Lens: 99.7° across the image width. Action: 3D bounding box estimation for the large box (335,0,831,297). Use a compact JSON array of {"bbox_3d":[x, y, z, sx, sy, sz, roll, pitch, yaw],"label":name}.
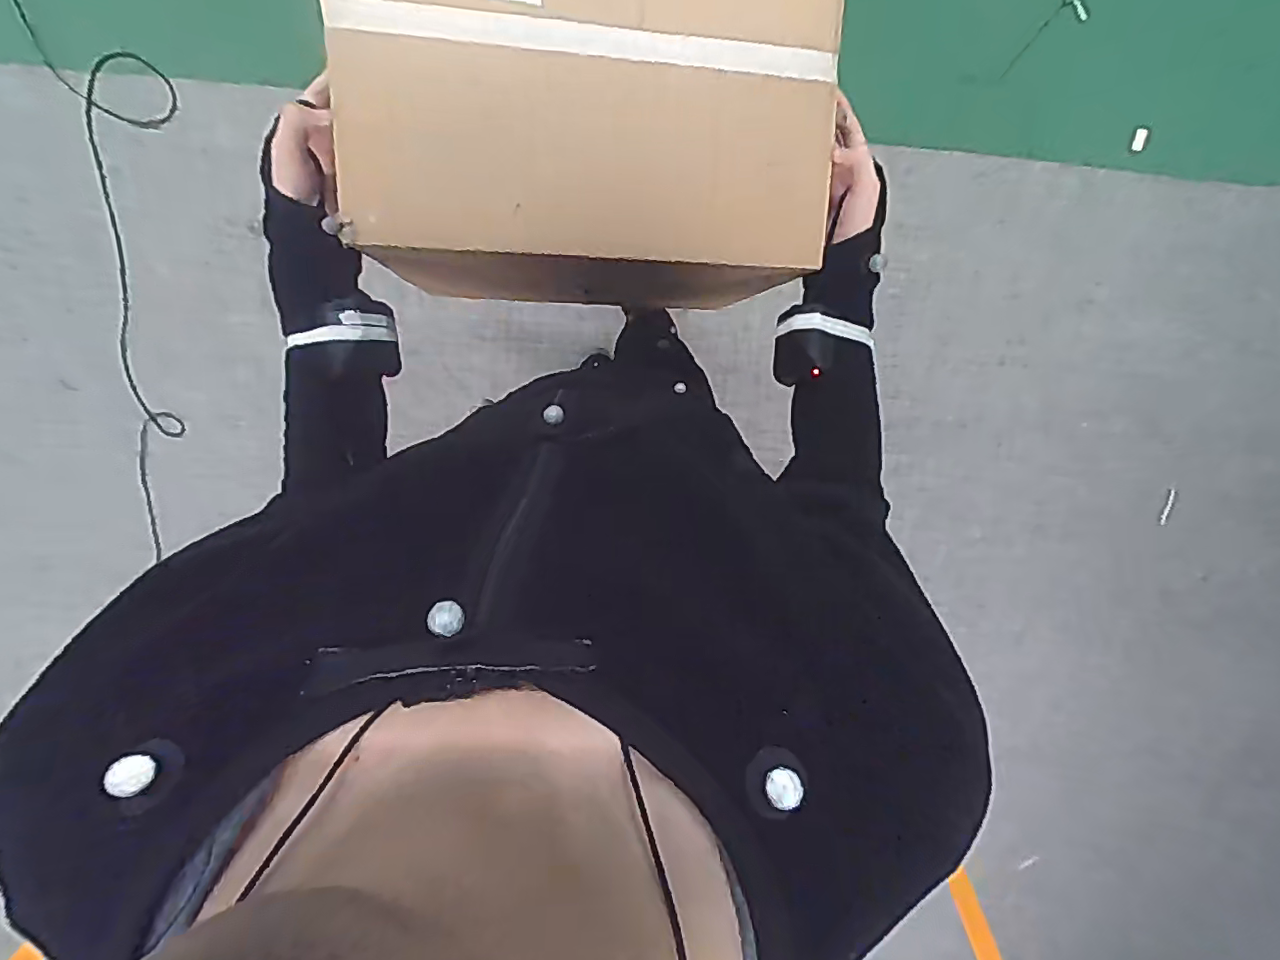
[{"bbox_3d":[-0.056,-0.376,0.584,0.408,0.320,0.320,-1,101,-8],"label":"large box"}]
